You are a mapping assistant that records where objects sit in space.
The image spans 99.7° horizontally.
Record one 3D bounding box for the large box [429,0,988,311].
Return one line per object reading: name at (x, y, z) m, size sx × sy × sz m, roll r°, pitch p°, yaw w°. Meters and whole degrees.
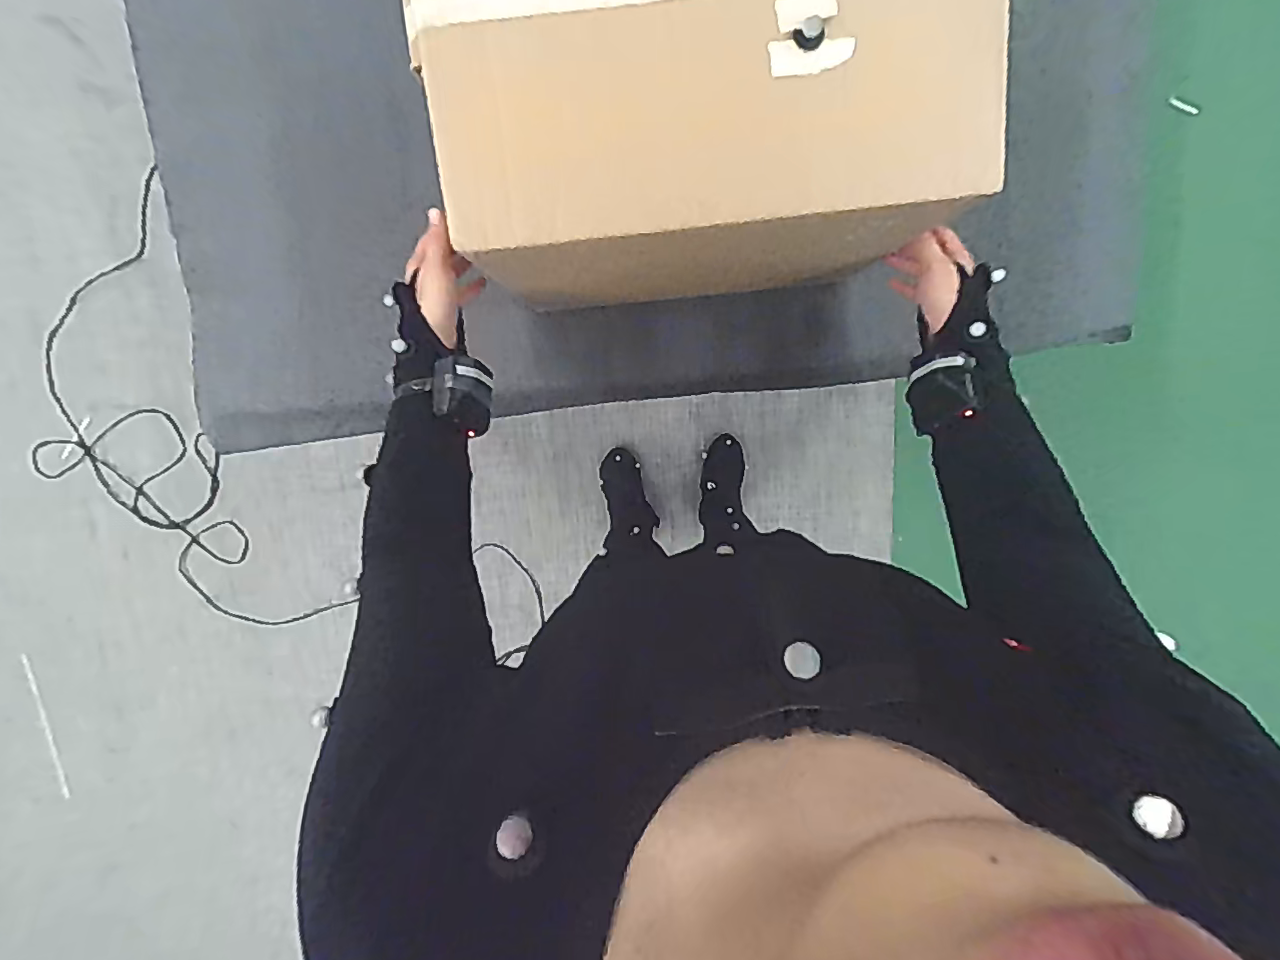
large box at (0.045, -0.370, 0.533) m, size 0.408 × 0.320 × 0.320 m, roll -6°, pitch 100°, yaw 1°
